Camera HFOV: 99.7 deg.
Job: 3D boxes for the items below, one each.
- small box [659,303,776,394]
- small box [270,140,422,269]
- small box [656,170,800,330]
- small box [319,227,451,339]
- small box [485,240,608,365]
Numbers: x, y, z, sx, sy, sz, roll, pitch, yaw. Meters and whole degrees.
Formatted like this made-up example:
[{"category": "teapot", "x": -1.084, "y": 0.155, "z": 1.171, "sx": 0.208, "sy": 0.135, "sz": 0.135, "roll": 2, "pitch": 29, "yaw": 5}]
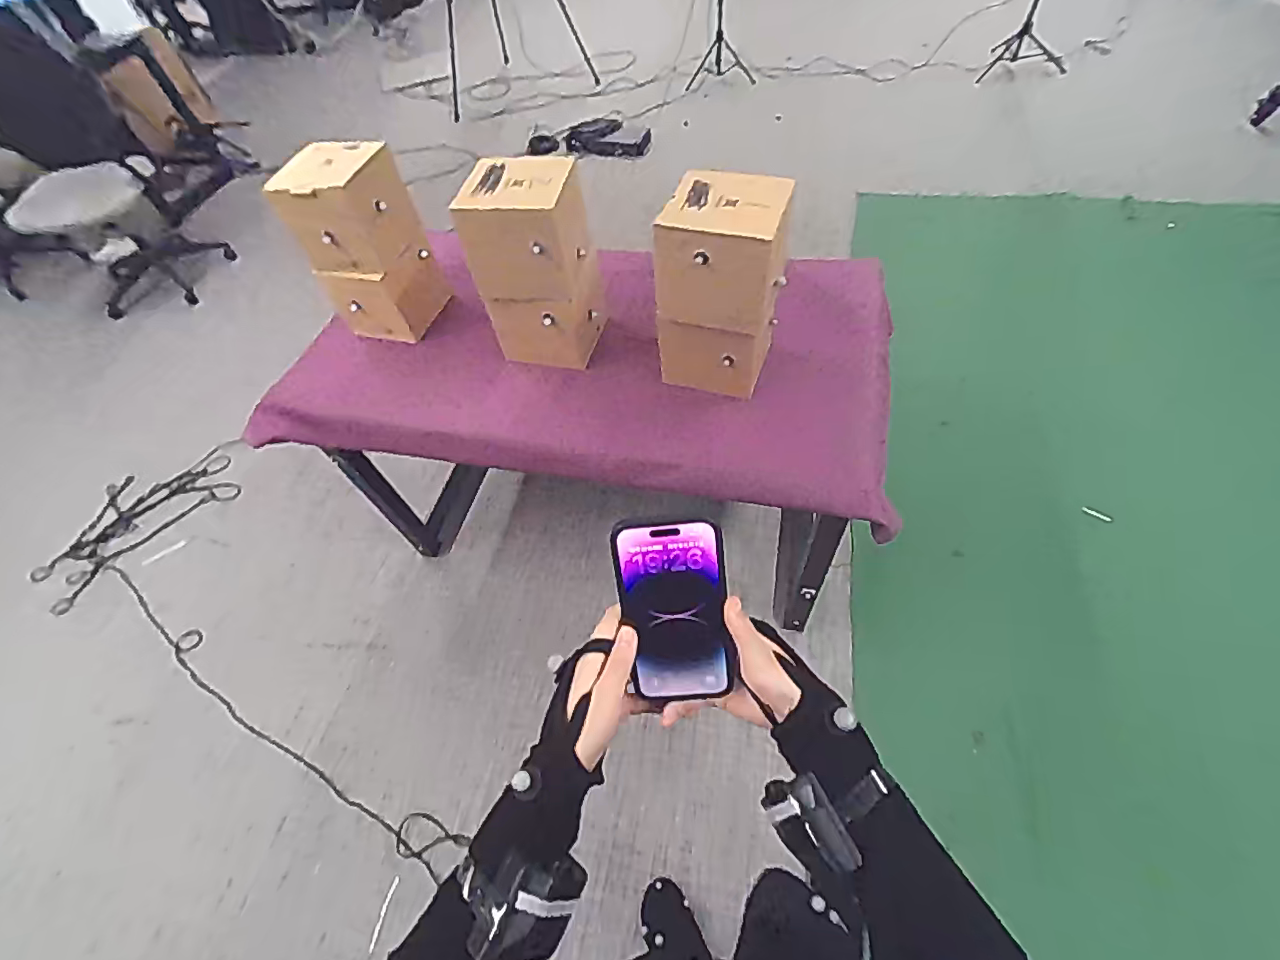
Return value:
[{"category": "small box", "x": 0.148, "y": -0.282, "z": 1.000, "sx": 0.179, "sy": 0.176, "sz": 0.168, "roll": 15, "pitch": 58, "yaw": 17}, {"category": "small box", "x": -0.557, "y": -0.533, "z": 1.055, "sx": 0.168, "sy": 0.176, "sz": 0.179, "roll": 6, "pitch": 57, "yaw": 10}, {"category": "small box", "x": 0.137, "y": -0.361, "z": 0.857, "sx": 0.179, "sy": 0.176, "sz": 0.168, "roll": 15, "pitch": 58, "yaw": 16}, {"category": "small box", "x": -0.543, "y": -0.433, "z": 1.185, "sx": 0.168, "sy": 0.176, "sz": 0.179, "roll": 10, "pitch": 57, "yaw": 13}, {"category": "small box", "x": -0.175, "y": -0.351, "z": 1.084, "sx": 0.179, "sy": 0.176, "sz": 0.168, "roll": 10, "pitch": 57, "yaw": 13}]
